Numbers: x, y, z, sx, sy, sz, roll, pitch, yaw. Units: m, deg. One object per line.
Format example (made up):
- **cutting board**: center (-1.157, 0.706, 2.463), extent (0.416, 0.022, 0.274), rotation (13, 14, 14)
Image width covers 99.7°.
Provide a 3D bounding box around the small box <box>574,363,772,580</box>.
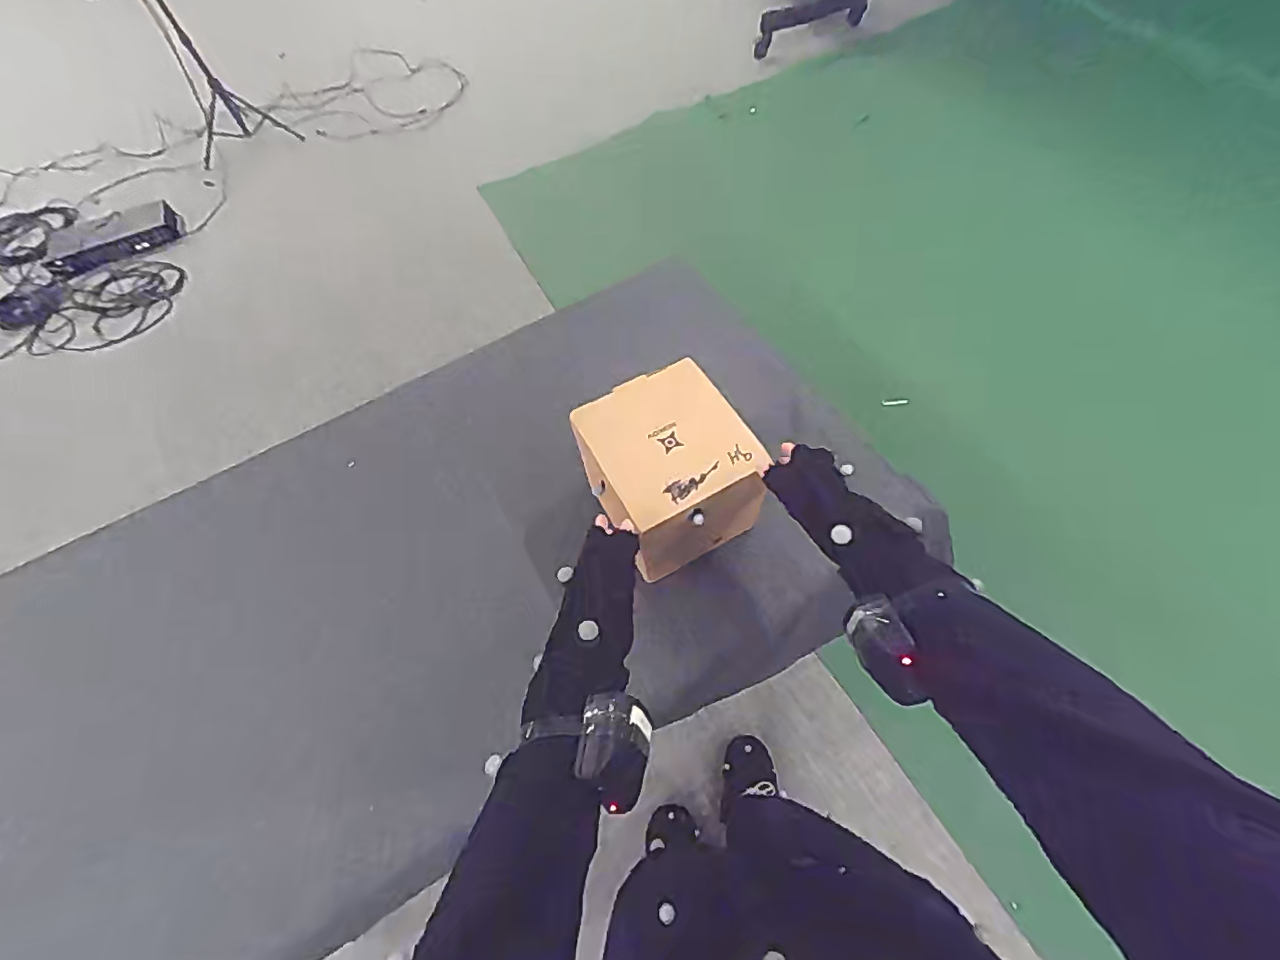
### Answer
- **small box**: center (0.037, -0.005, 0.673), extent (0.168, 0.176, 0.179), rotation (-27, 62, -10)
